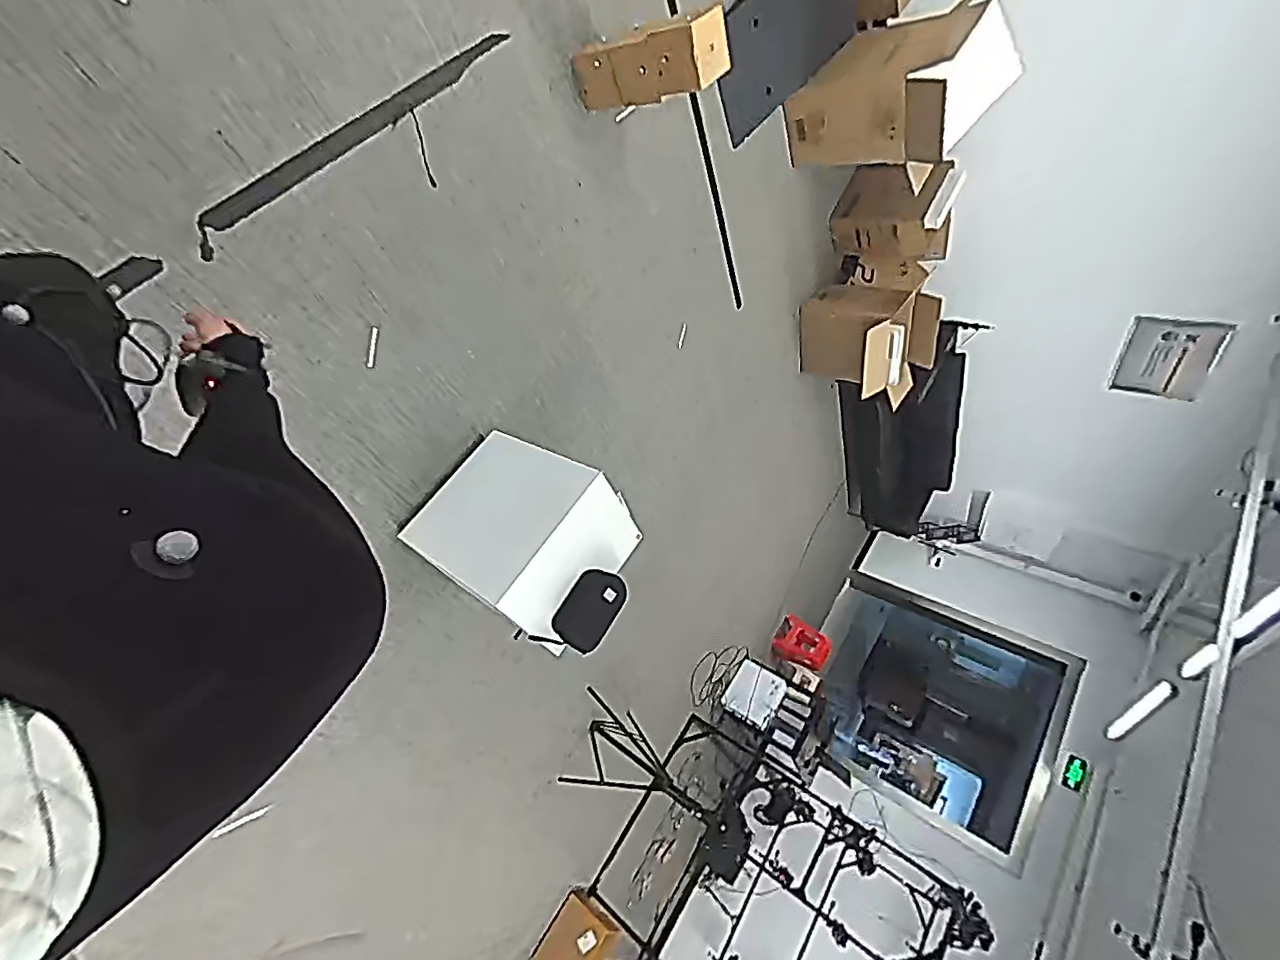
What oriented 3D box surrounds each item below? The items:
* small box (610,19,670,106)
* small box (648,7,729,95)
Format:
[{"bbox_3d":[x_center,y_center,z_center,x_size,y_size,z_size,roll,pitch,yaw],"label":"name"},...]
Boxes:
[{"bbox_3d":[0.026,-1.365,1.777,0.168,0.176,0.179,-53,143,-22],"label":"small box"},{"bbox_3d":[0.151,-1.328,1.679,0.179,0.176,0.168,-51,142,-23],"label":"small box"}]
